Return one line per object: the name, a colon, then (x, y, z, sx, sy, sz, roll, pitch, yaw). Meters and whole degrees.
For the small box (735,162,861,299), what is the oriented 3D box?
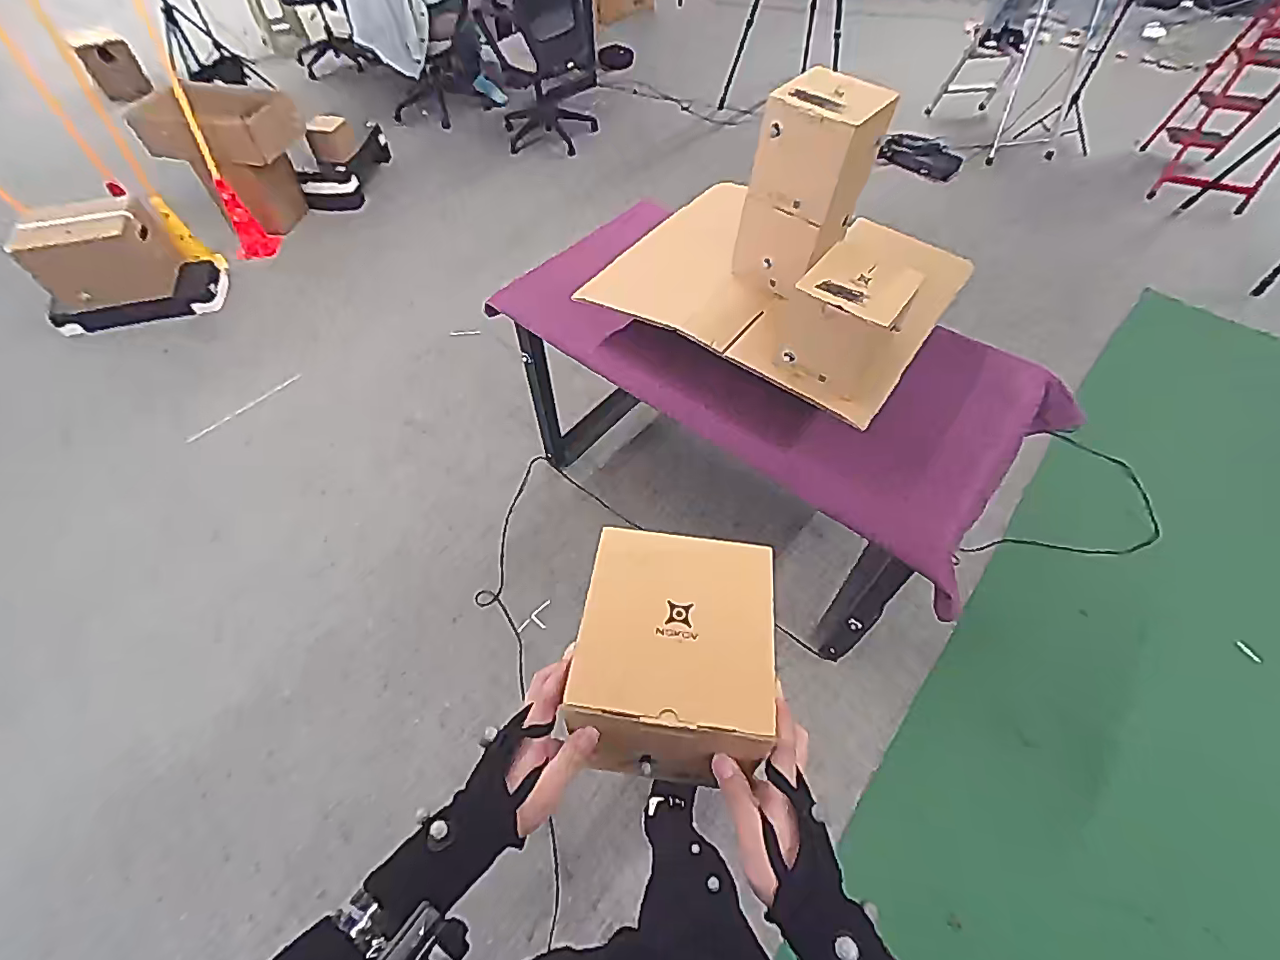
small box: (0.314, -0.509, 1.110, 0.168, 0.176, 0.179, 34, 62, 19)

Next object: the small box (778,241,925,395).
small box: (0.364, -0.284, 0.963, 0.168, 0.176, 0.179, 33, 61, 19)
